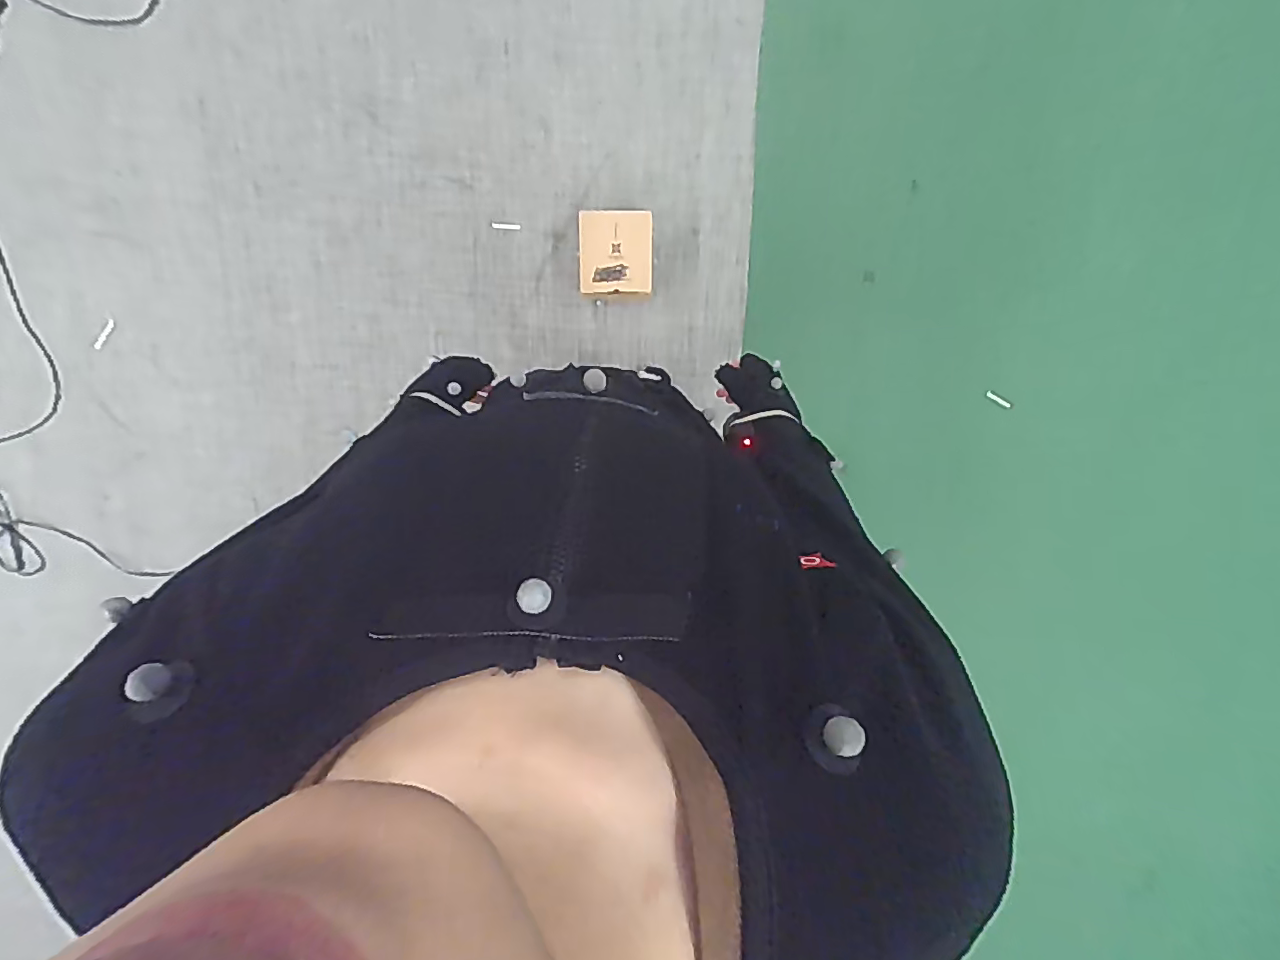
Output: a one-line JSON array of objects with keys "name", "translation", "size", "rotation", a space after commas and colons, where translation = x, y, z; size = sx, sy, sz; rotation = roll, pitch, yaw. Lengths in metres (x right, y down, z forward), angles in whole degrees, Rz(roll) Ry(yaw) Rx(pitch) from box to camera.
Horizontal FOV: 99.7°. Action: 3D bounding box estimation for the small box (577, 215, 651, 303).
[{"name": "small box", "translation": [-0.058, -0.520, 1.292], "size": [0.168, 0.176, 0.179], "rotation": [0, 102, 0]}]
